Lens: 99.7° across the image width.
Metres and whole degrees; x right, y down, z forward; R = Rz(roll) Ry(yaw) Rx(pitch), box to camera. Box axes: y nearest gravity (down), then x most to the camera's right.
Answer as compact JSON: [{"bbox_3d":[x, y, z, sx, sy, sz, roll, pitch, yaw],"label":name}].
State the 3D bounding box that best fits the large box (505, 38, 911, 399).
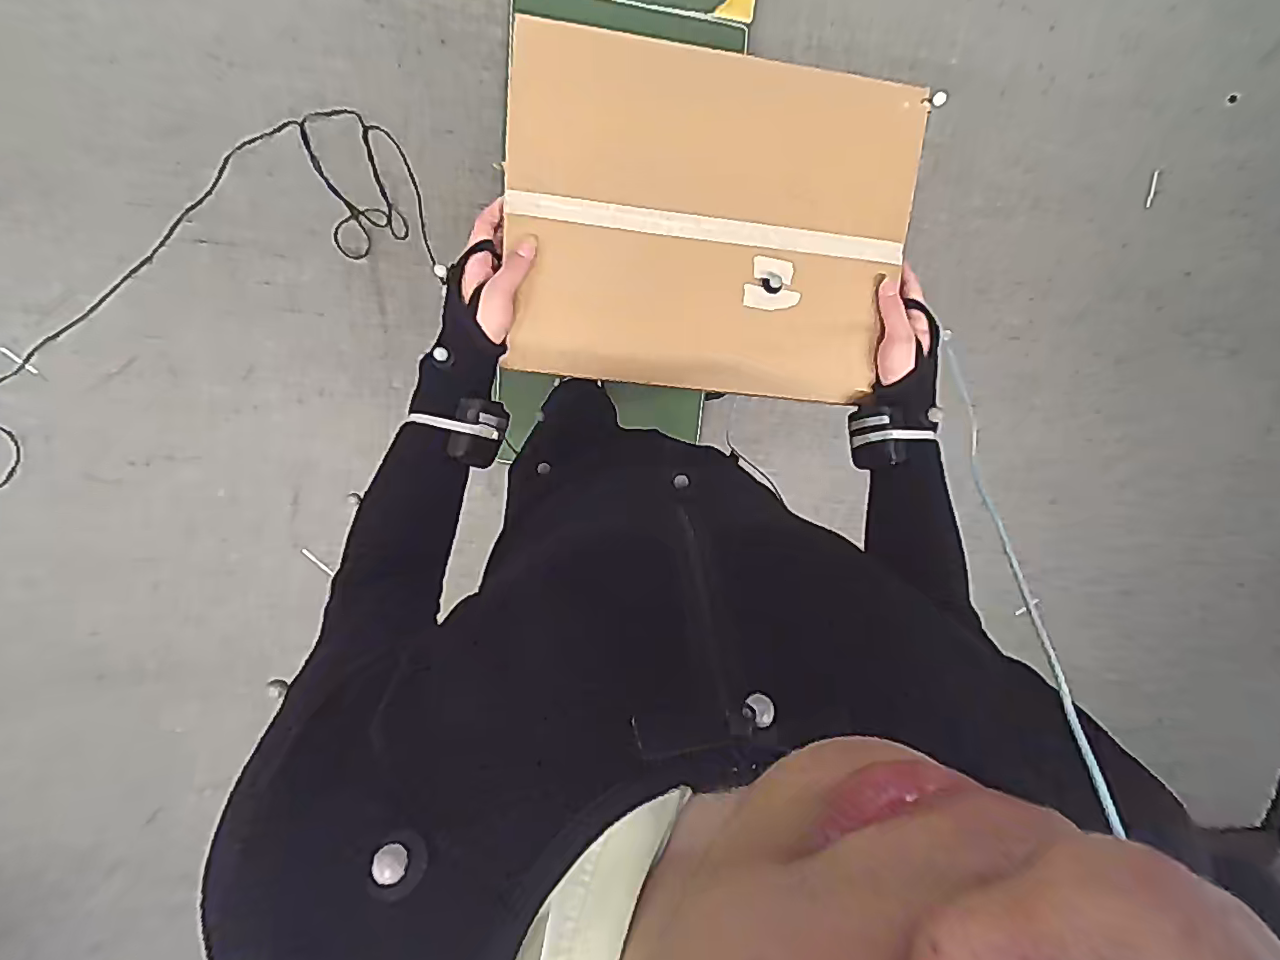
[{"bbox_3d":[0.051,-0.277,0.696,0.408,0.320,0.320,4,100,-7],"label":"large box"}]
